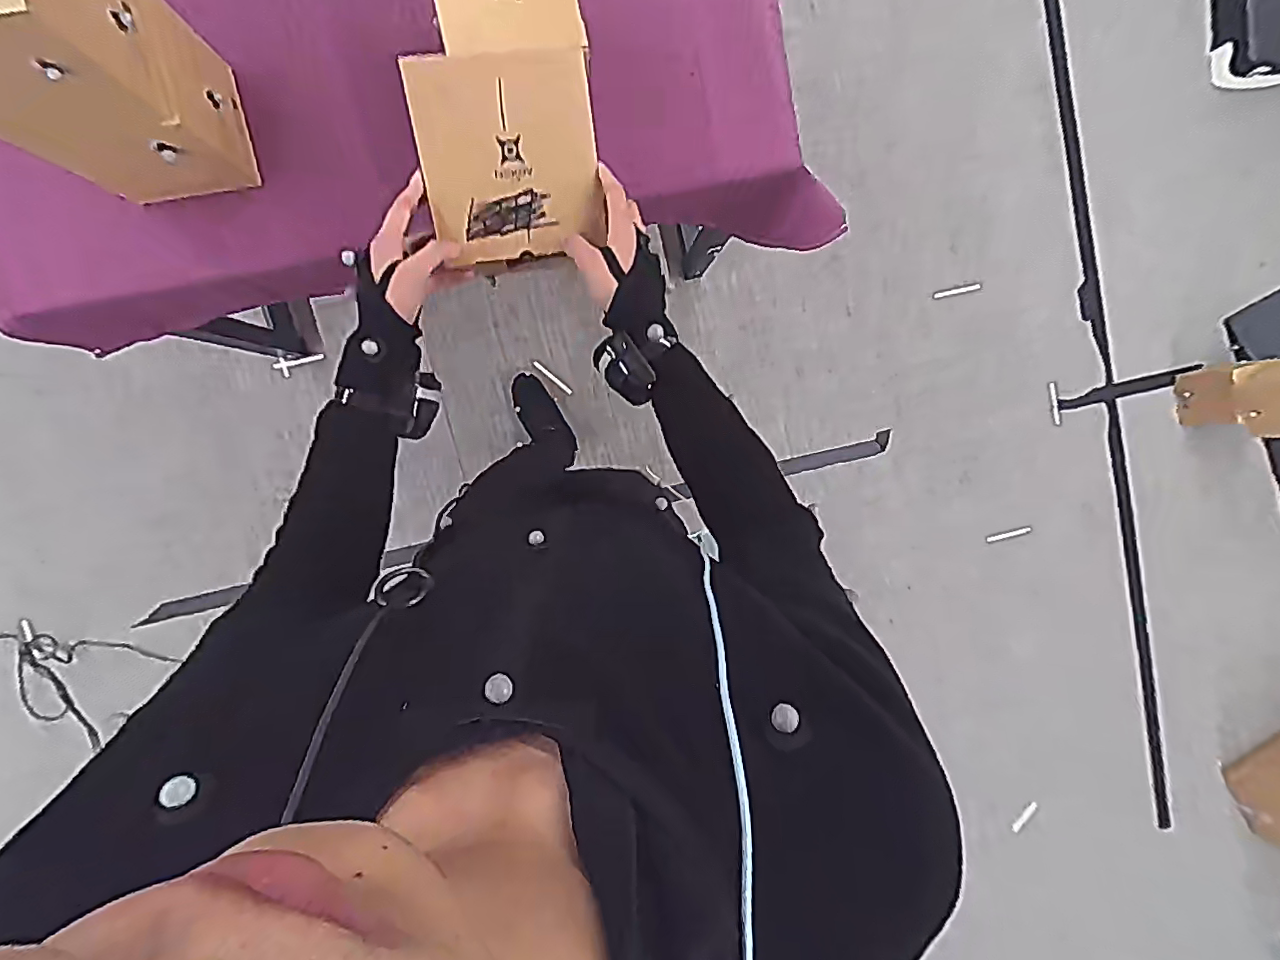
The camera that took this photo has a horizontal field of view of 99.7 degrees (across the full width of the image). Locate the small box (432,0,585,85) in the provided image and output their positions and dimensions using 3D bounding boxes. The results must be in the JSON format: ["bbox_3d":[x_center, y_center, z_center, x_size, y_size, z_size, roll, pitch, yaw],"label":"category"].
[{"bbox_3d":[-0.172,-0.607,0.727,0.179,0.176,0.168,-12,97,-5],"label":"small box"}]

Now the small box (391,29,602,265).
[{"bbox_3d":[-0.138,-0.330,0.573,0.168,0.176,0.179,-10,108,-7],"label":"small box"}]

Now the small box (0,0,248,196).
[{"bbox_3d":[-0.644,-0.489,0.690,0.179,0.176,0.168,-12,97,-4],"label":"small box"}]
